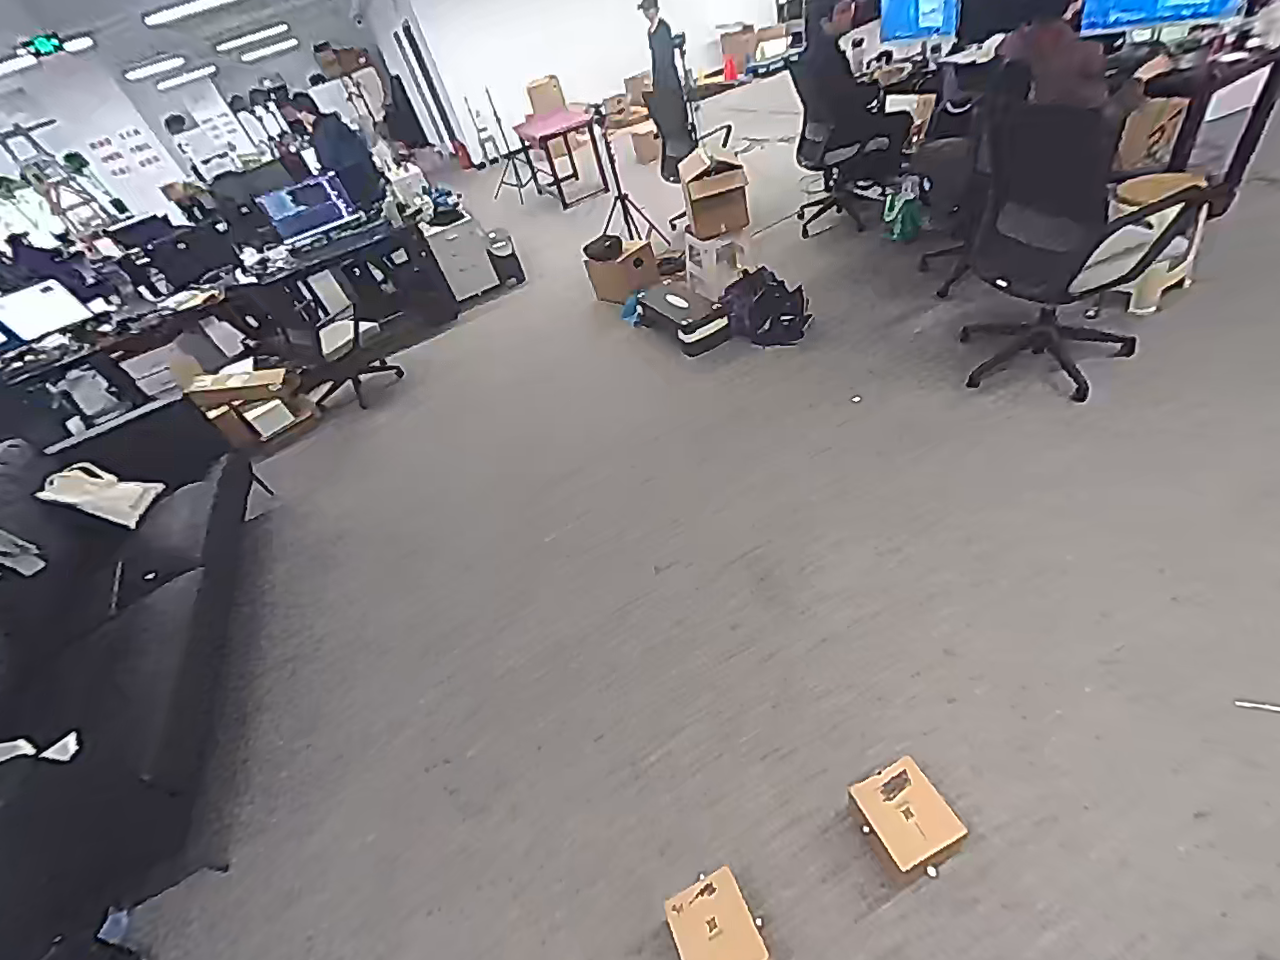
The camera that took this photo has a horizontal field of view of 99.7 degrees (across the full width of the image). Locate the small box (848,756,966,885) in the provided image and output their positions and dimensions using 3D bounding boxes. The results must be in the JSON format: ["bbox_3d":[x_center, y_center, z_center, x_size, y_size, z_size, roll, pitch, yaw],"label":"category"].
[{"bbox_3d":[0.595,0.775,1.229,0.168,0.176,0.179,-26,42,-6],"label":"small box"}]

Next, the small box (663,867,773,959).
[{"bbox_3d":[0.172,0.986,1.164,0.168,0.176,0.179,-25,41,-7],"label":"small box"}]
